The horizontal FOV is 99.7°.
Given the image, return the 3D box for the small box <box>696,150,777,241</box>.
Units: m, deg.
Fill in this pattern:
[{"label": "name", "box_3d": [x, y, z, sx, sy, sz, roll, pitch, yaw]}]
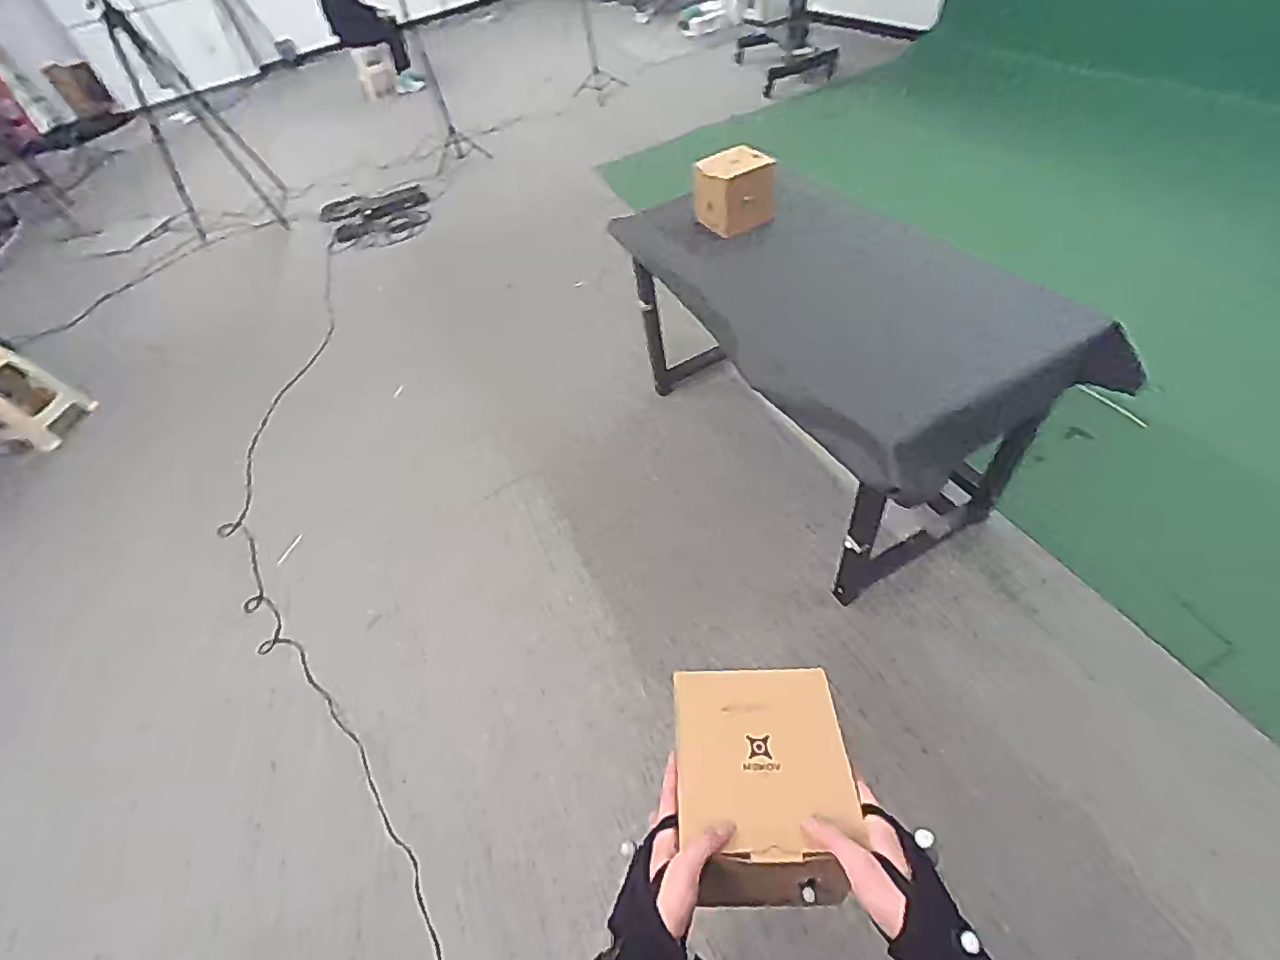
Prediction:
[{"label": "small box", "box_3d": [0.288, -0.839, 1.600, 0.179, 0.176, 0.168, -28, 52, -11]}]
